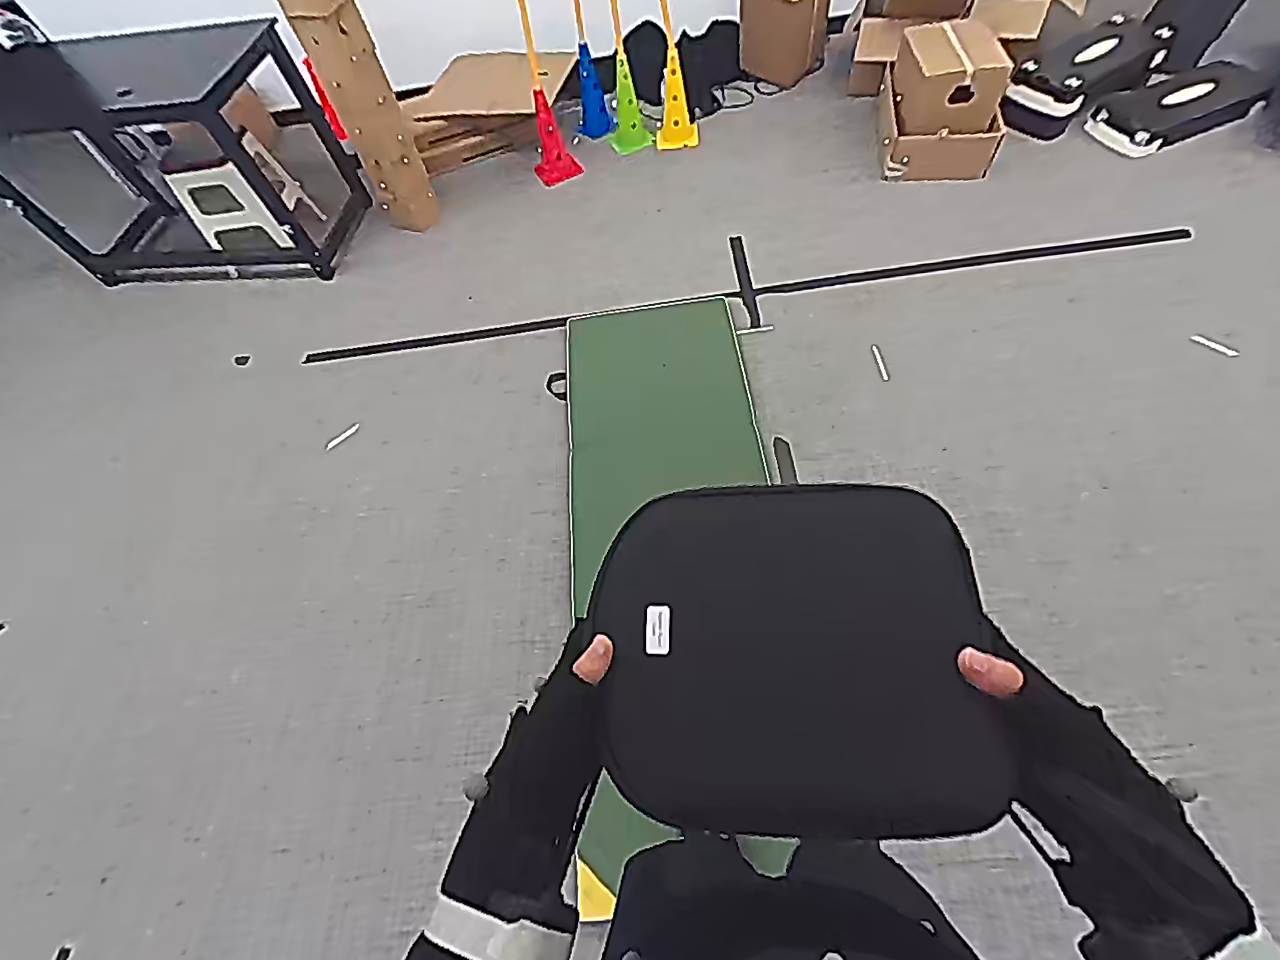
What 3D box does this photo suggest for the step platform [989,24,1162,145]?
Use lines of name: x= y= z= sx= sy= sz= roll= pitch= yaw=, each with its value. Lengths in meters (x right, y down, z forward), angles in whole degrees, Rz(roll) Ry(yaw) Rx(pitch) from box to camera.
step platform: x=1.891 y=-1.730 z=2.355 sx=0.684 sy=0.204 sz=0.286 roll=-33 pitch=62 yaw=-11
